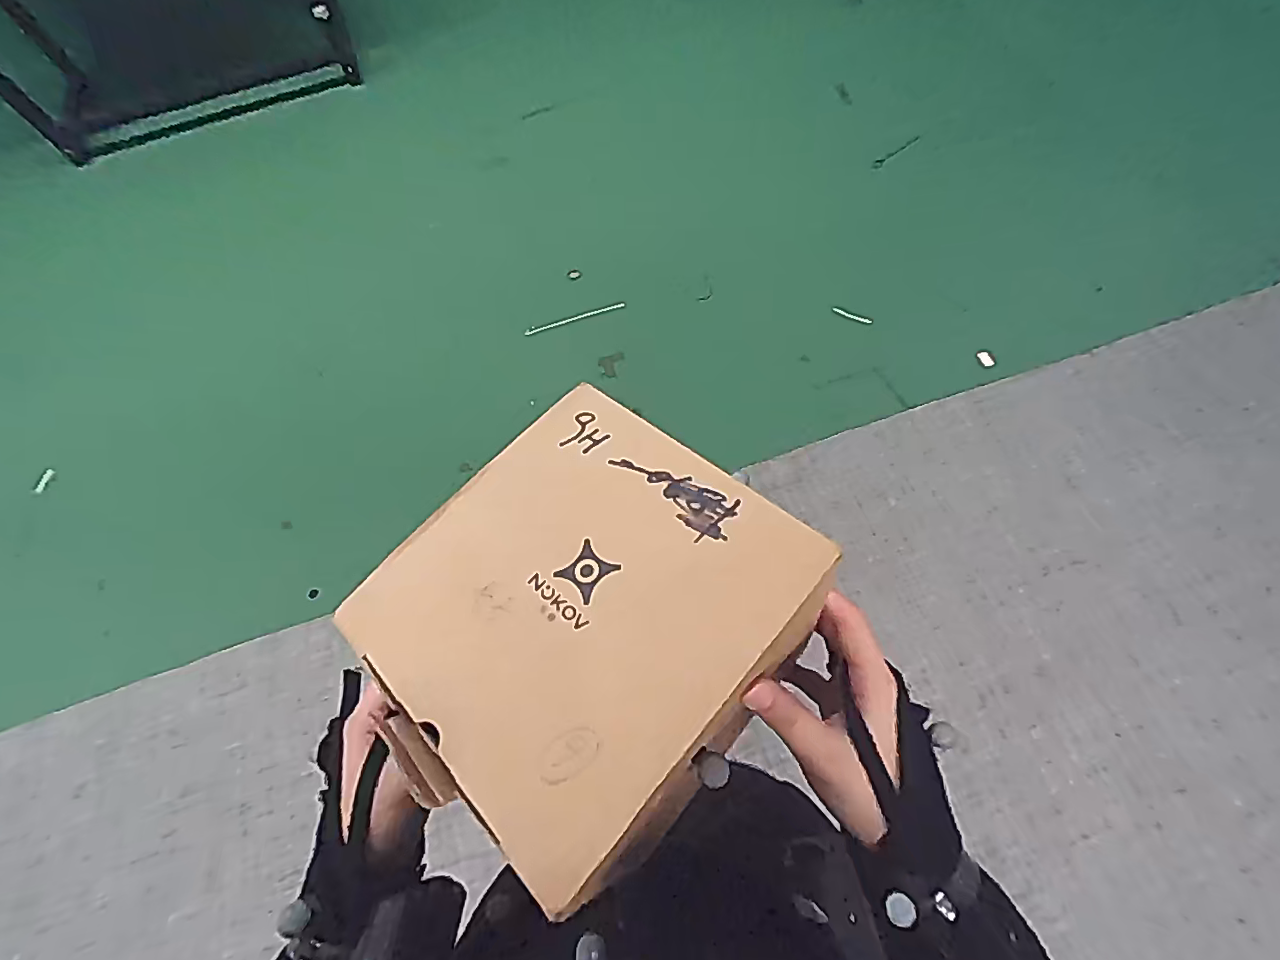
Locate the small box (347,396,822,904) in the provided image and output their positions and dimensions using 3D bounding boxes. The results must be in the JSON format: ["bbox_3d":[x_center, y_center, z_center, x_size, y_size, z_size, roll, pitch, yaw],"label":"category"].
[{"bbox_3d":[-0.017,0.092,0.319,0.168,0.176,0.179,36,73,27],"label":"small box"}]
